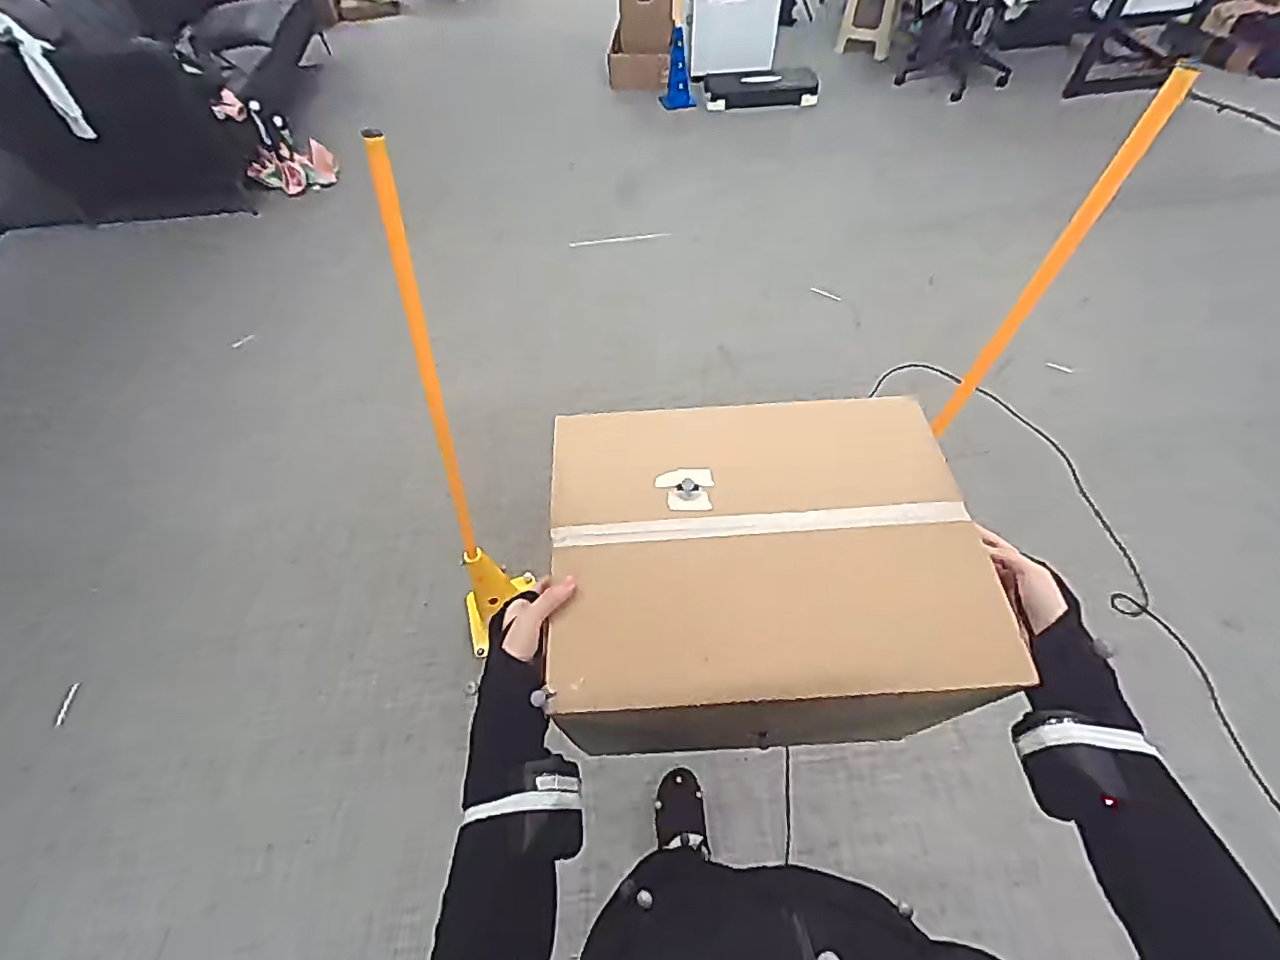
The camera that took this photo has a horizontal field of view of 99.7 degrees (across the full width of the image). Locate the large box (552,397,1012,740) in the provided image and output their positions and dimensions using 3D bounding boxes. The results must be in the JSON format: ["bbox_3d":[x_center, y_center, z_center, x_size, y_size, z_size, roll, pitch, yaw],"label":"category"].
[{"bbox_3d":[0.122,0.127,0.665,0.408,0.320,0.320,-4,58,1],"label":"large box"}]
